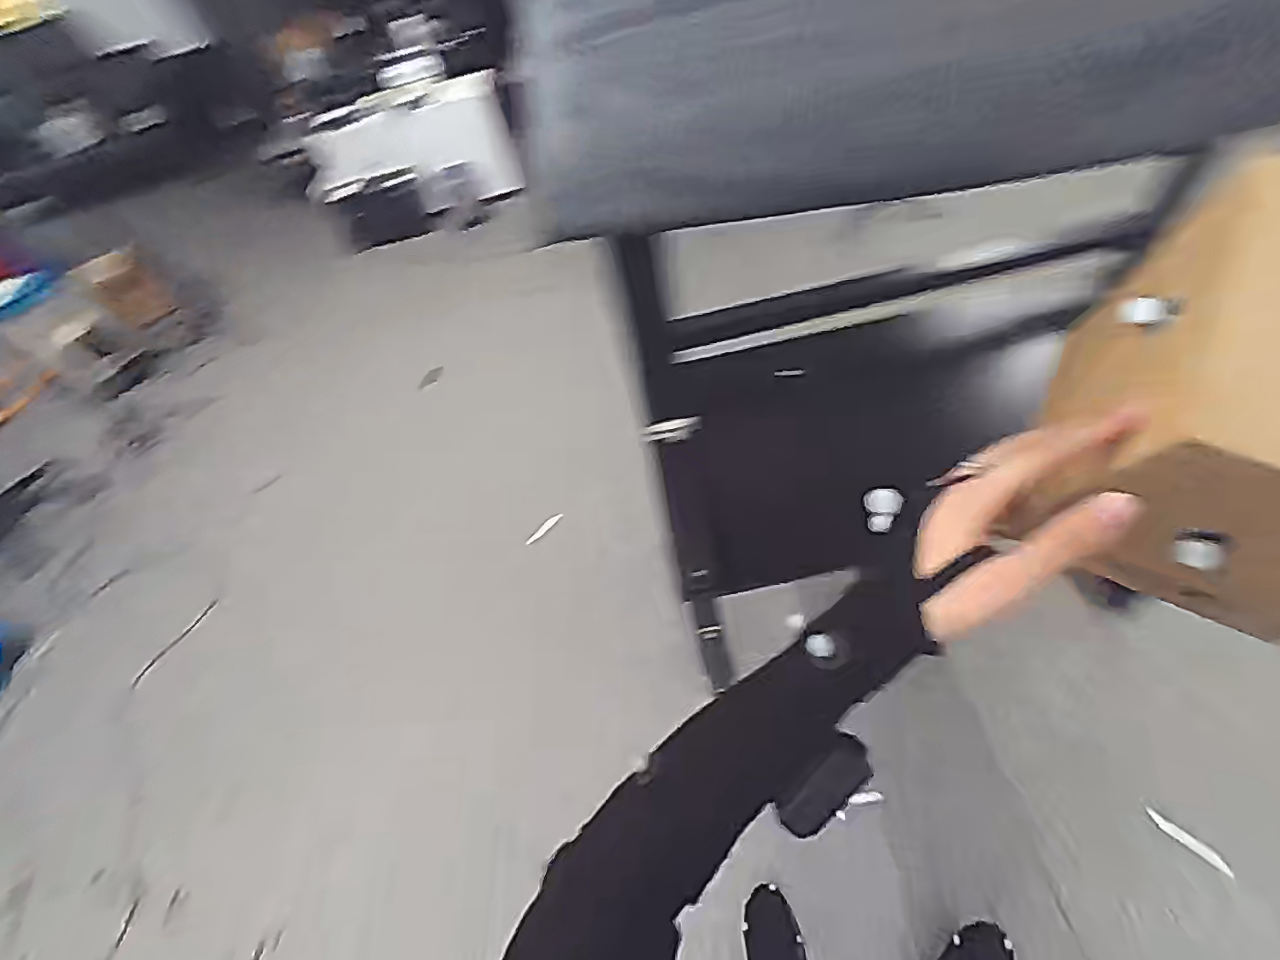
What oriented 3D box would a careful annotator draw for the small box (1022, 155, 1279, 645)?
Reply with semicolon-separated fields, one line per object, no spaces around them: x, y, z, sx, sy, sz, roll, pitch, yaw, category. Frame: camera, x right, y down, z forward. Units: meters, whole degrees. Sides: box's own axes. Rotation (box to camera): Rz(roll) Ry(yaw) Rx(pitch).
0.349;-0.026;0.292;0.168;0.176;0.179;26;75;17;small box
